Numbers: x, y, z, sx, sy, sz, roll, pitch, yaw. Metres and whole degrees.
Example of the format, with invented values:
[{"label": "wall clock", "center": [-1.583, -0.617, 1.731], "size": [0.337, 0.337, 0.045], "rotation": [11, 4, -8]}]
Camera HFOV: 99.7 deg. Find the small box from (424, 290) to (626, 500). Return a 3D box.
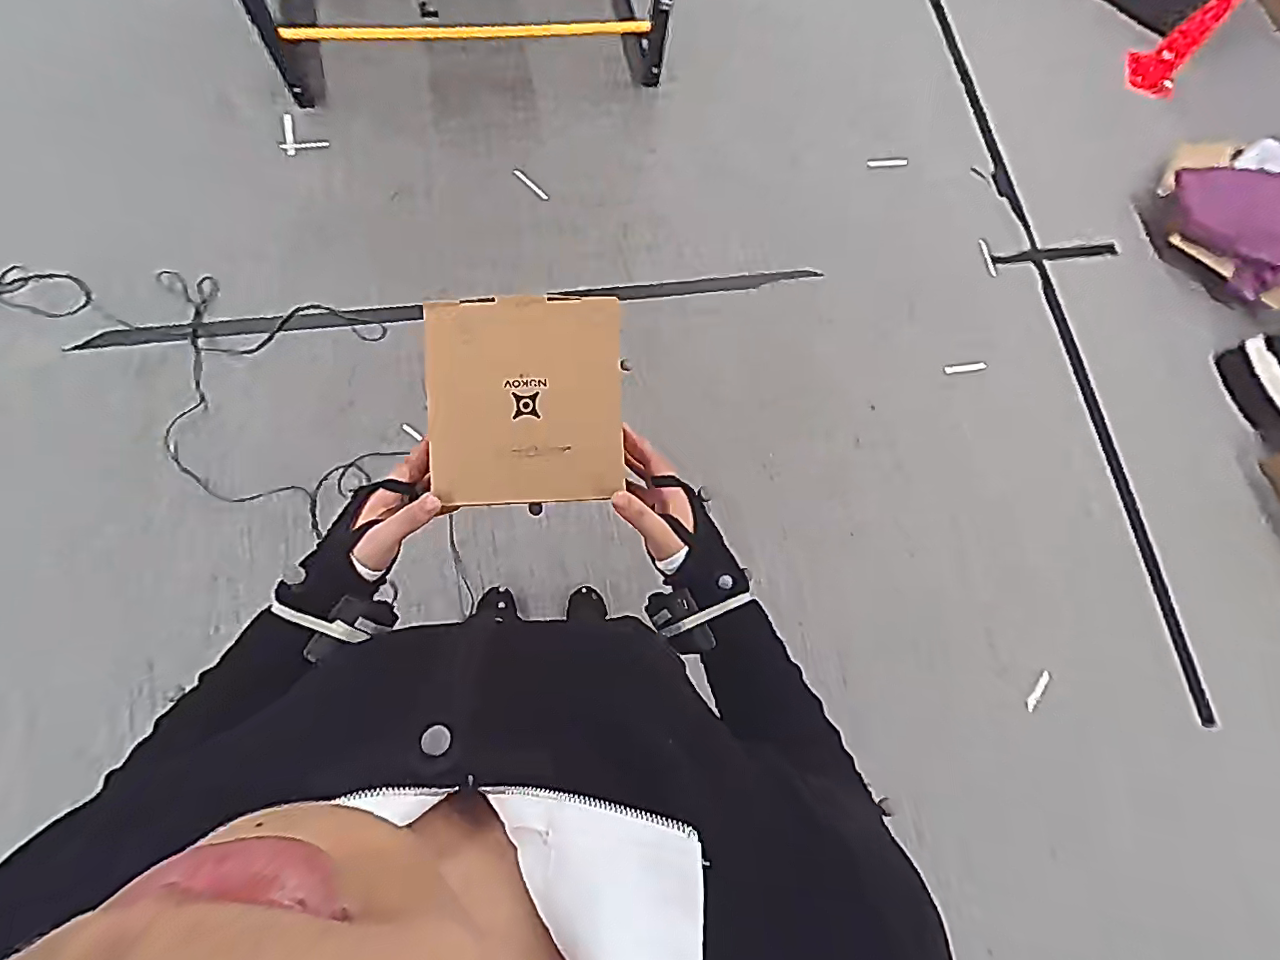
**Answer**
[{"label": "small box", "center": [-0.102, -0.072, 0.536], "size": [0.168, 0.176, 0.179], "rotation": [-3, 91, -3]}]
